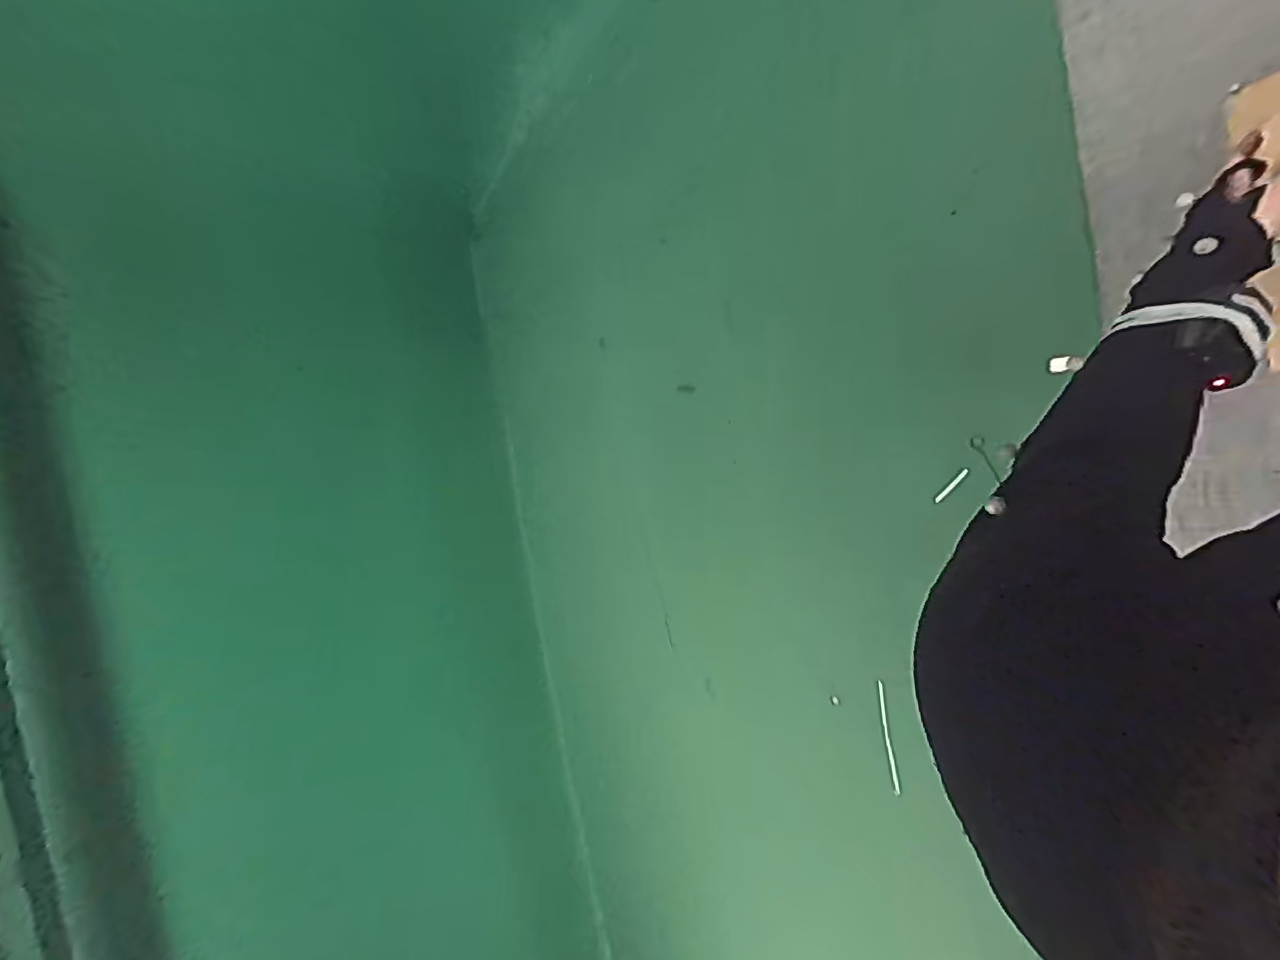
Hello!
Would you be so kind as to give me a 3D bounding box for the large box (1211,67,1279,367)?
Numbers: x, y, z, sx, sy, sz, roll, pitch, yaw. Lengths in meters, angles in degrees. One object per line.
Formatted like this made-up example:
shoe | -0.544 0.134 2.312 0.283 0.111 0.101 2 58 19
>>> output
large box | 1.073 -0.397 0.747 0.320 0.320 0.408 -10 91 53
